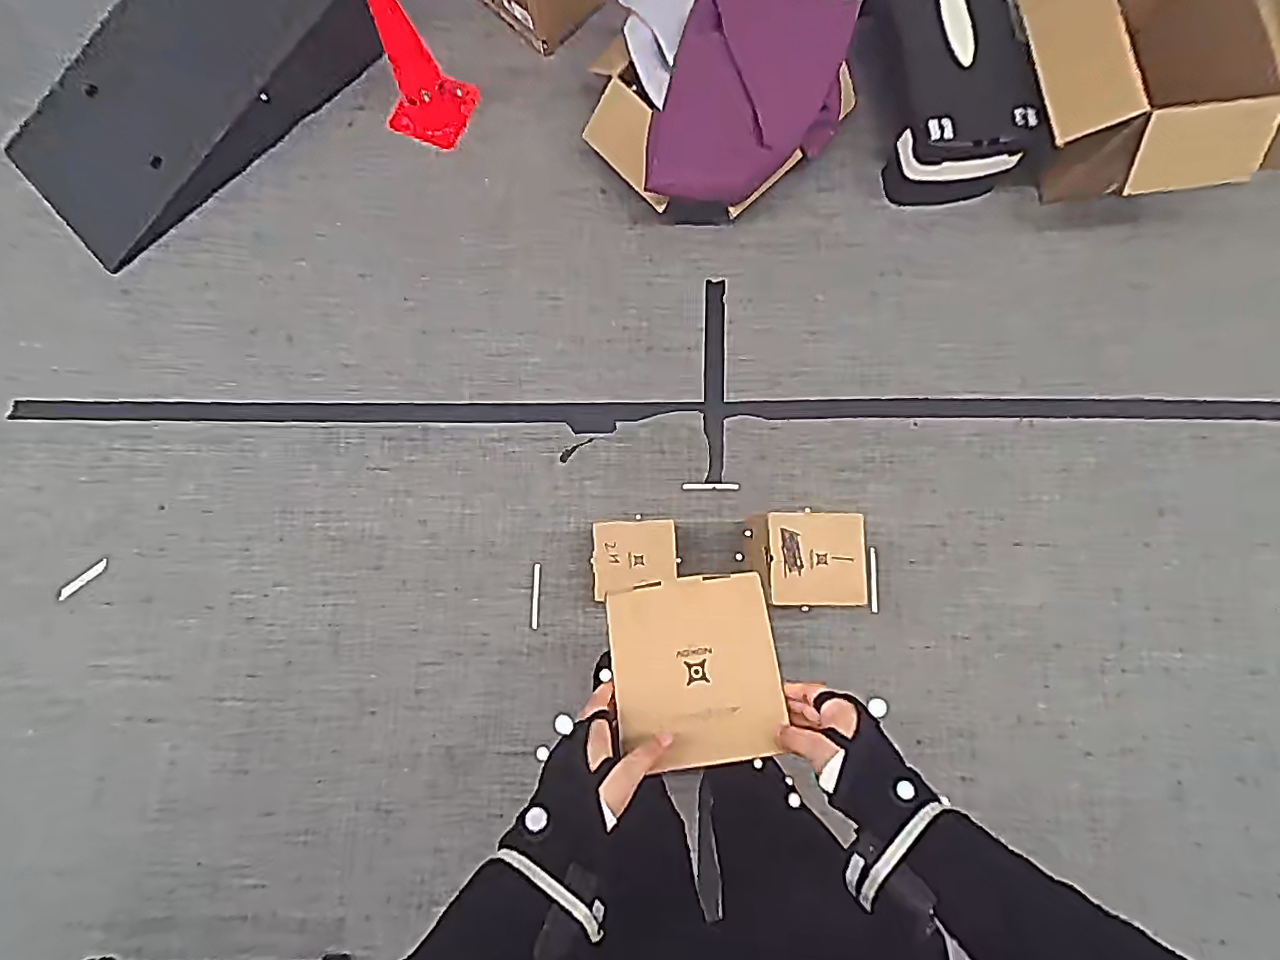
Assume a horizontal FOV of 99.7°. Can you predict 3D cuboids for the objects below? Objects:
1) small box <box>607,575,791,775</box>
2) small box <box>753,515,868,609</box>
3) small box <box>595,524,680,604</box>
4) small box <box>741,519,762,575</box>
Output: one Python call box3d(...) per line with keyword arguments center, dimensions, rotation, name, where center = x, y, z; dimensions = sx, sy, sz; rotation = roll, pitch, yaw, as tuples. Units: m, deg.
box3d(center=(0.051, 0.215, 0.613), dimensions=(0.168, 0.176, 0.179), rotation=(-5, 71, -5), name="small box")
box3d(center=(0.317, 0.157, 1.043), dimensions=(0.179, 0.176, 0.168), rotation=(1, 82, 0), name="small box")
box3d(center=(-0.006, 0.184, 1.205), dimensions=(0.179, 0.176, 0.168), rotation=(-2, 82, 1), name="small box")
box3d(center=(0.322, 0.181, 1.207), dimensions=(0.168, 0.176, 0.179), rotation=(2, 83, 0), name="small box")
